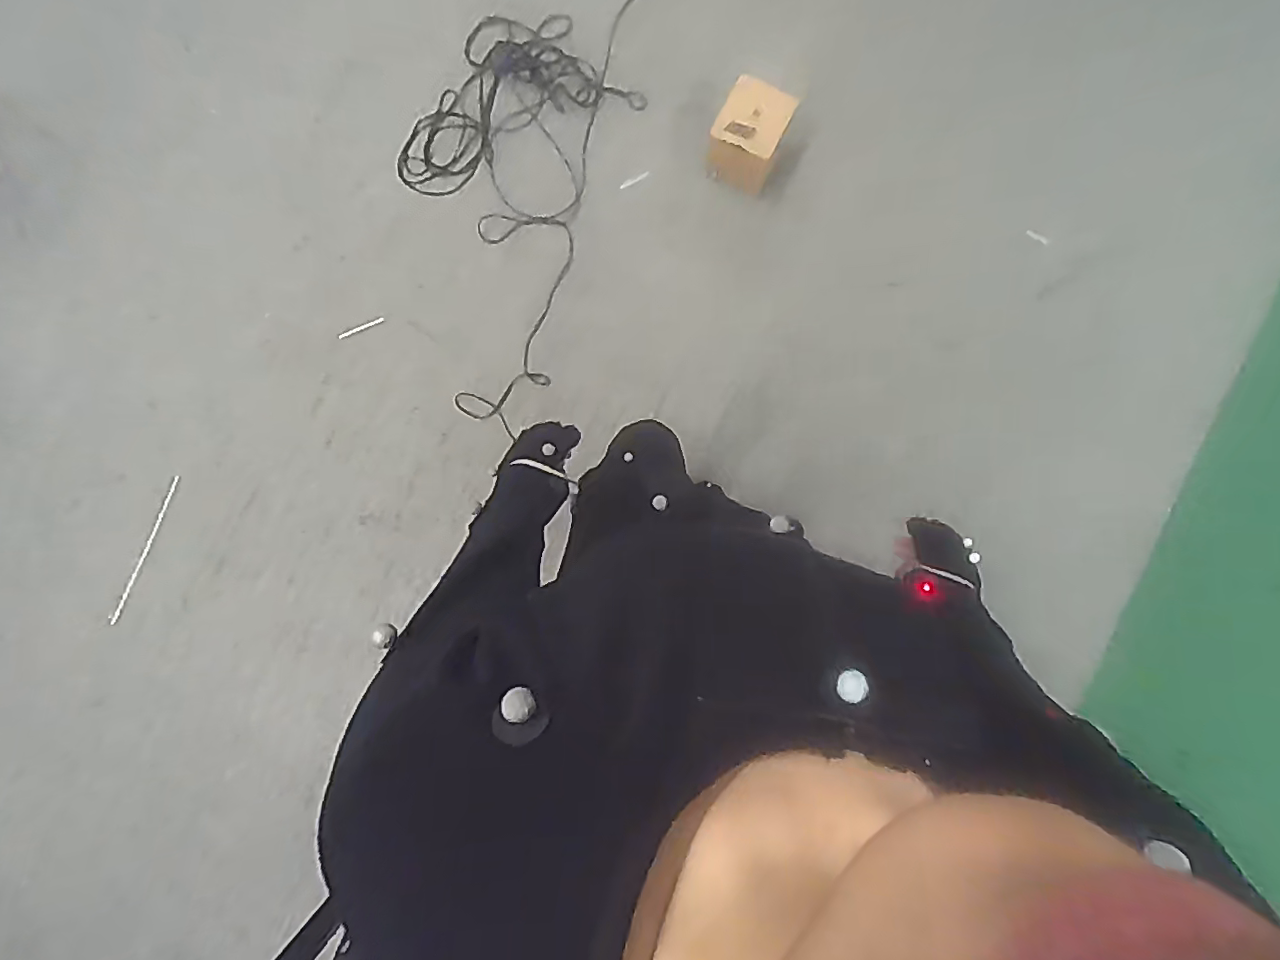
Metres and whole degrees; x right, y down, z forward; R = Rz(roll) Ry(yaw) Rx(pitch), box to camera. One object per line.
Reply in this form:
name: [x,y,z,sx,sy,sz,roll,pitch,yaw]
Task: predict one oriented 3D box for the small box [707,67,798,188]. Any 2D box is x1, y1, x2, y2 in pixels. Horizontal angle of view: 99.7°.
small box: [0.286,-0.910,1.415,0.168,0.176,0.179,28,90,4]
